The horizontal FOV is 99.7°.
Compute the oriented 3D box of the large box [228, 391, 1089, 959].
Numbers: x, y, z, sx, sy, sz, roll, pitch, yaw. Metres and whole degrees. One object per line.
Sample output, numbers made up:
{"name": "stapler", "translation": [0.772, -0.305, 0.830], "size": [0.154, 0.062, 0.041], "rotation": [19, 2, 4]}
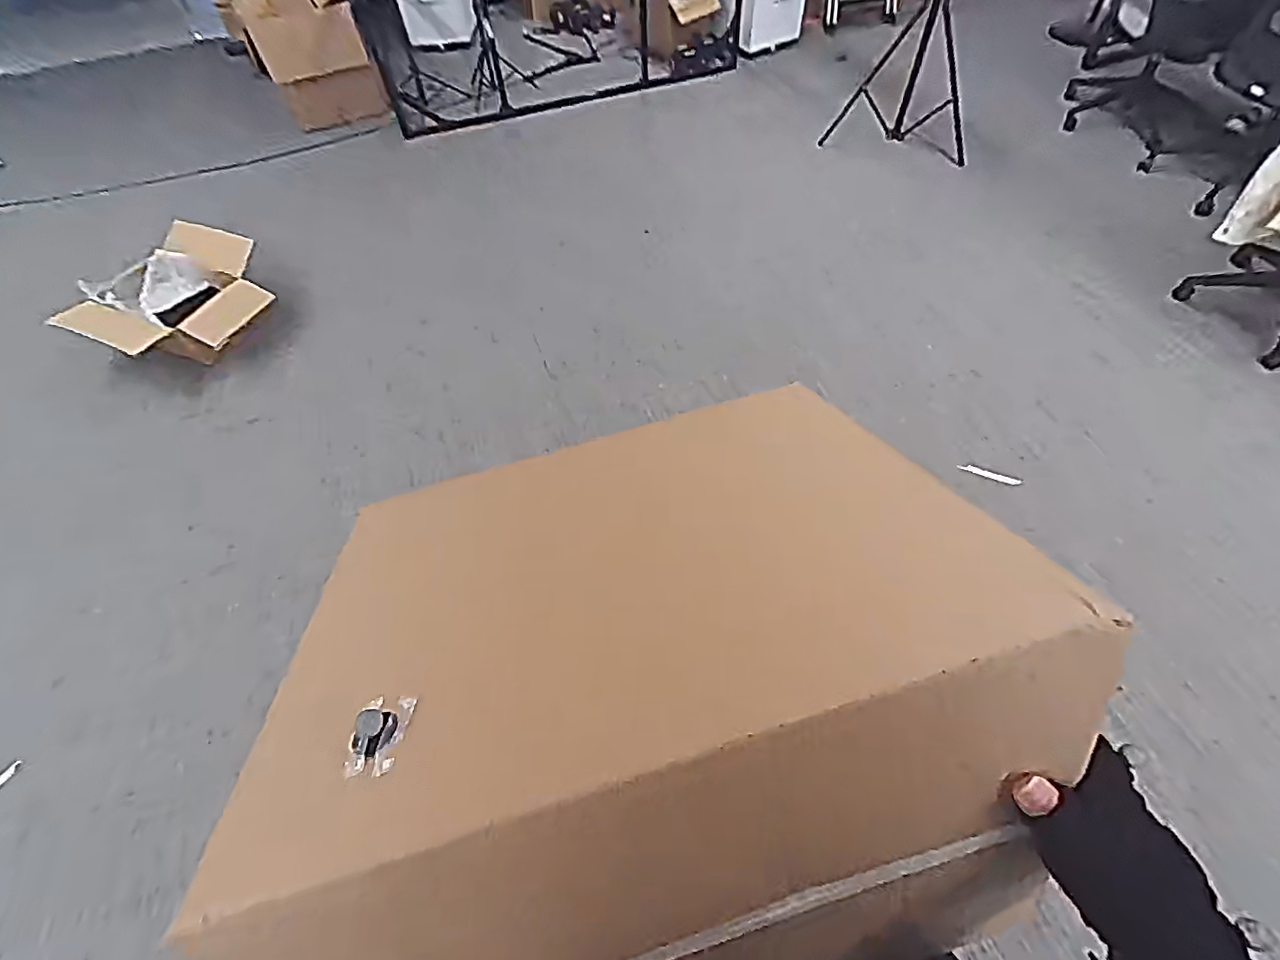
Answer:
{"name": "large box", "translation": [0.019, 0.164, 0.435], "size": [0.408, 0.320, 0.320], "rotation": [-17, 31, -4]}
